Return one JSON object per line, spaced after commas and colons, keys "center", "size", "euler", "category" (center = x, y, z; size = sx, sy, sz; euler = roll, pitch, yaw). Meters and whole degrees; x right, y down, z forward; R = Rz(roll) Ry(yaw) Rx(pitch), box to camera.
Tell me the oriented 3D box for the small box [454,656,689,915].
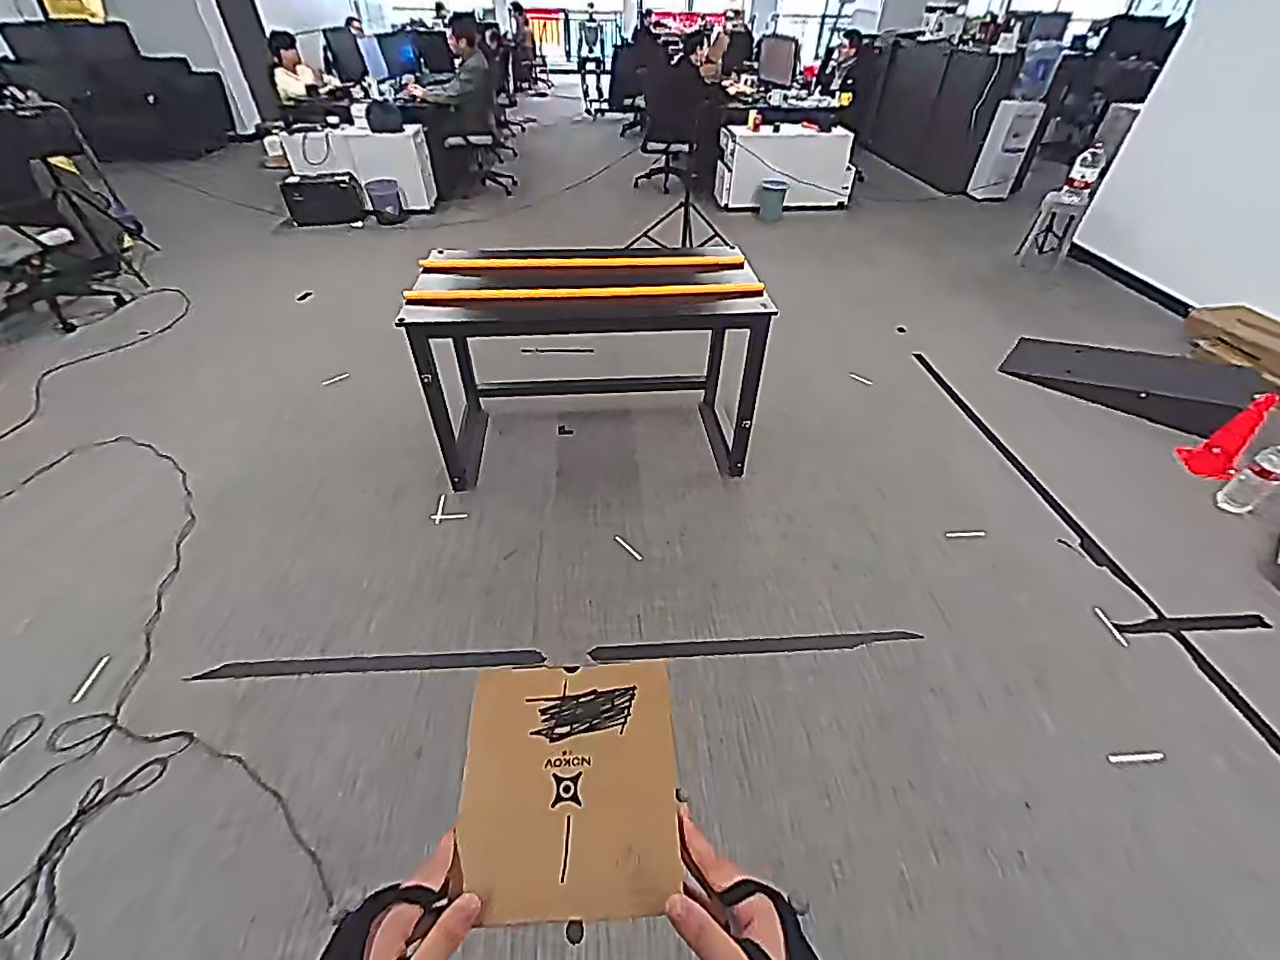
{"center": [-0.049, 0.276, 0.486], "size": [0.168, 0.176, 0.179], "euler": [-3, 53, -1], "category": "small box"}
